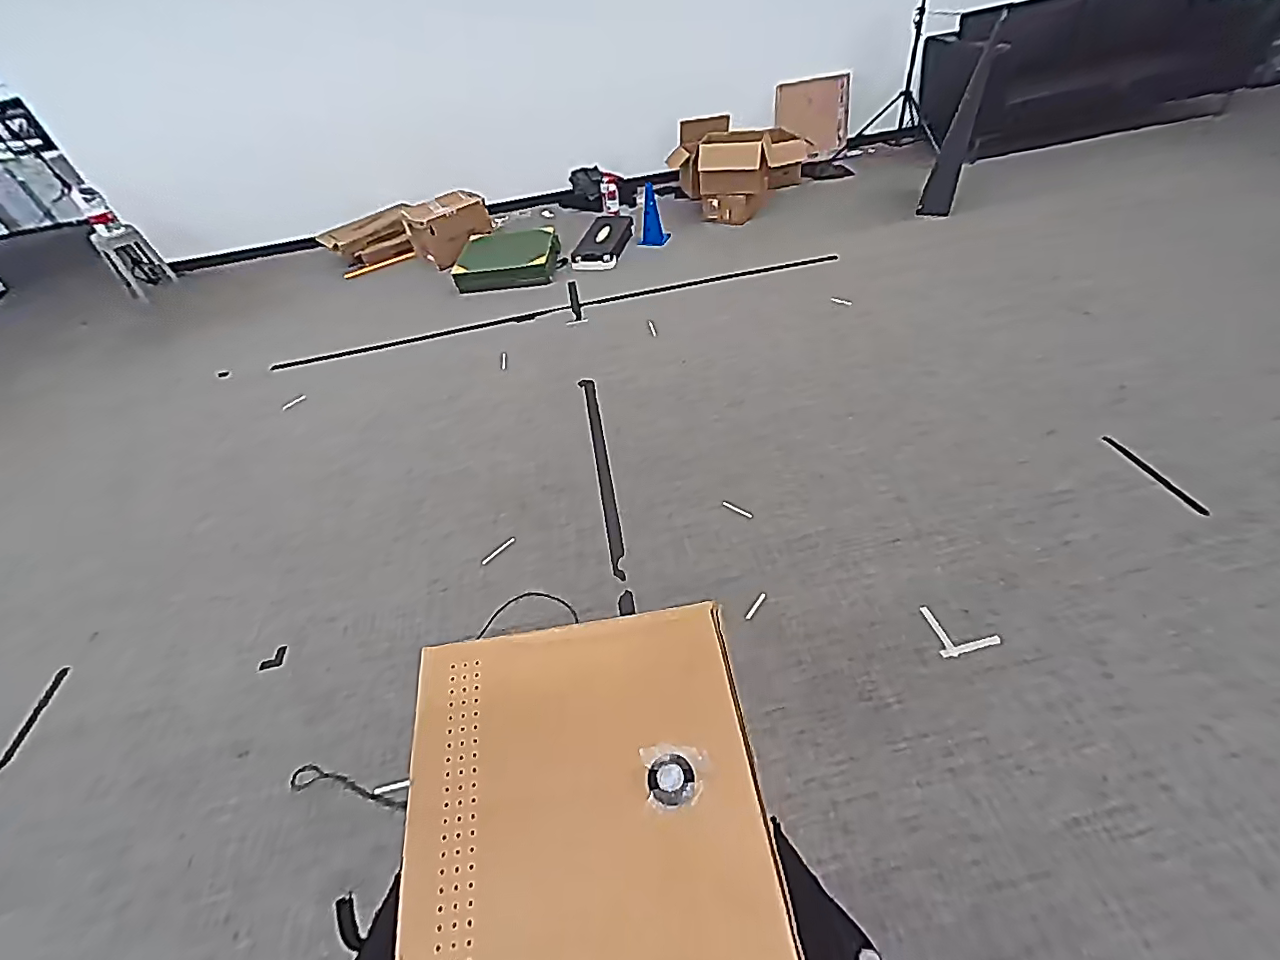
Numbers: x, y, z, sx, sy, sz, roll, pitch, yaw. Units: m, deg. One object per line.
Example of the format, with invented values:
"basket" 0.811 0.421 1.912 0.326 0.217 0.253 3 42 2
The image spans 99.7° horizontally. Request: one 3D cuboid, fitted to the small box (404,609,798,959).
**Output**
"small box" -0.024 0.201 0.325 0.176 0.168 0.179 -9 55 -1
